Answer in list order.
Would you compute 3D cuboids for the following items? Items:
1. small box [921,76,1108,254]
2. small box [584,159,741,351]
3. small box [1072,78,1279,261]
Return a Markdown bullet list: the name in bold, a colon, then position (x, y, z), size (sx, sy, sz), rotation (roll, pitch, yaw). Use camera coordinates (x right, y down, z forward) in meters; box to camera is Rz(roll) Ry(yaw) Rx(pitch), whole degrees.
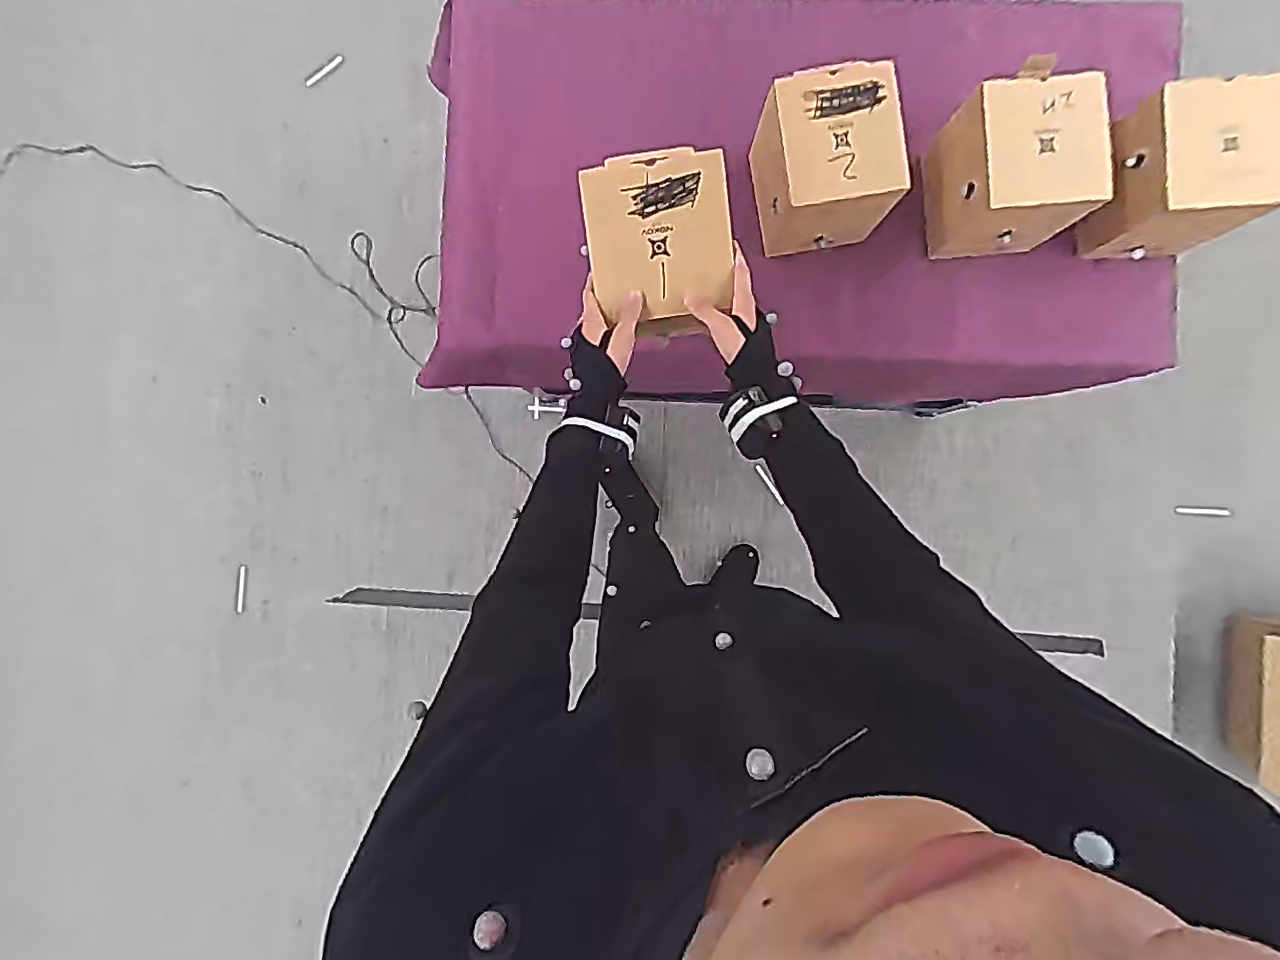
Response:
- **small box**: position (0.546, -0.455, 0.811), size (0.168, 0.176, 0.179), rotation (-4, 89, 1)
- **small box**: position (0.028, -0.273, 0.694), size (0.168, 0.176, 0.179), rotation (-7, 97, 3)
- **small box**: position (0.786, -0.450, 0.806), size (0.168, 0.176, 0.179), rotation (-2, 89, 3)
